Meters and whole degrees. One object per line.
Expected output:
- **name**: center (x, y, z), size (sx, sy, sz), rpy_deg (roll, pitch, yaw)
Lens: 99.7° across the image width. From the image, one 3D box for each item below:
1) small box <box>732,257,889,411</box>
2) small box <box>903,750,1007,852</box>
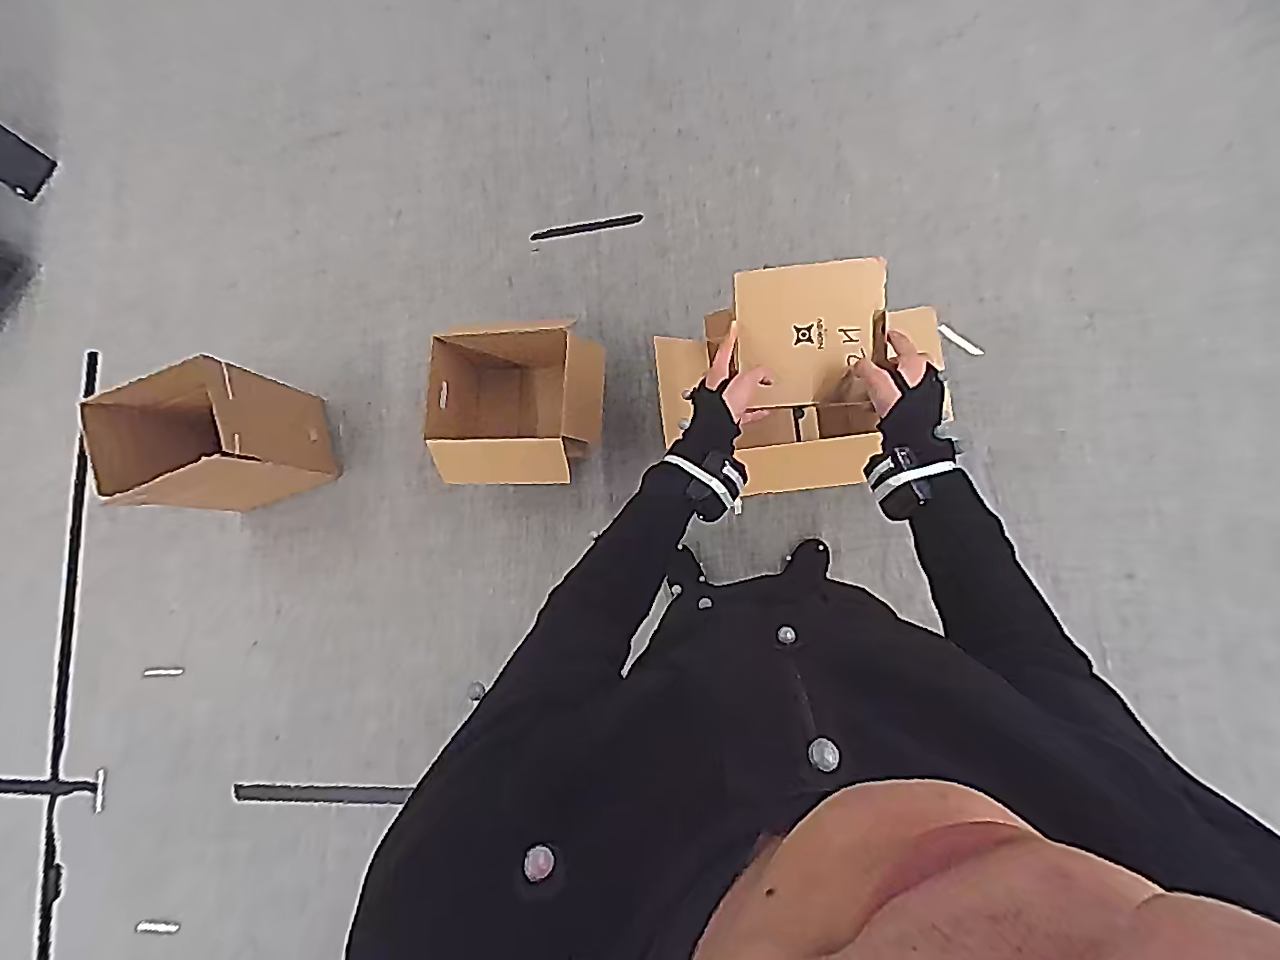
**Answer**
- **small box**: center (0.215, -0.179, 0.717), size (0.179, 0.176, 0.168), rpy_deg (-3, 96, 9)
- **small box**: center (0.768, 0.786, 1.340), size (0.179, 0.176, 0.168), rpy_deg (-4, 83, 8)
